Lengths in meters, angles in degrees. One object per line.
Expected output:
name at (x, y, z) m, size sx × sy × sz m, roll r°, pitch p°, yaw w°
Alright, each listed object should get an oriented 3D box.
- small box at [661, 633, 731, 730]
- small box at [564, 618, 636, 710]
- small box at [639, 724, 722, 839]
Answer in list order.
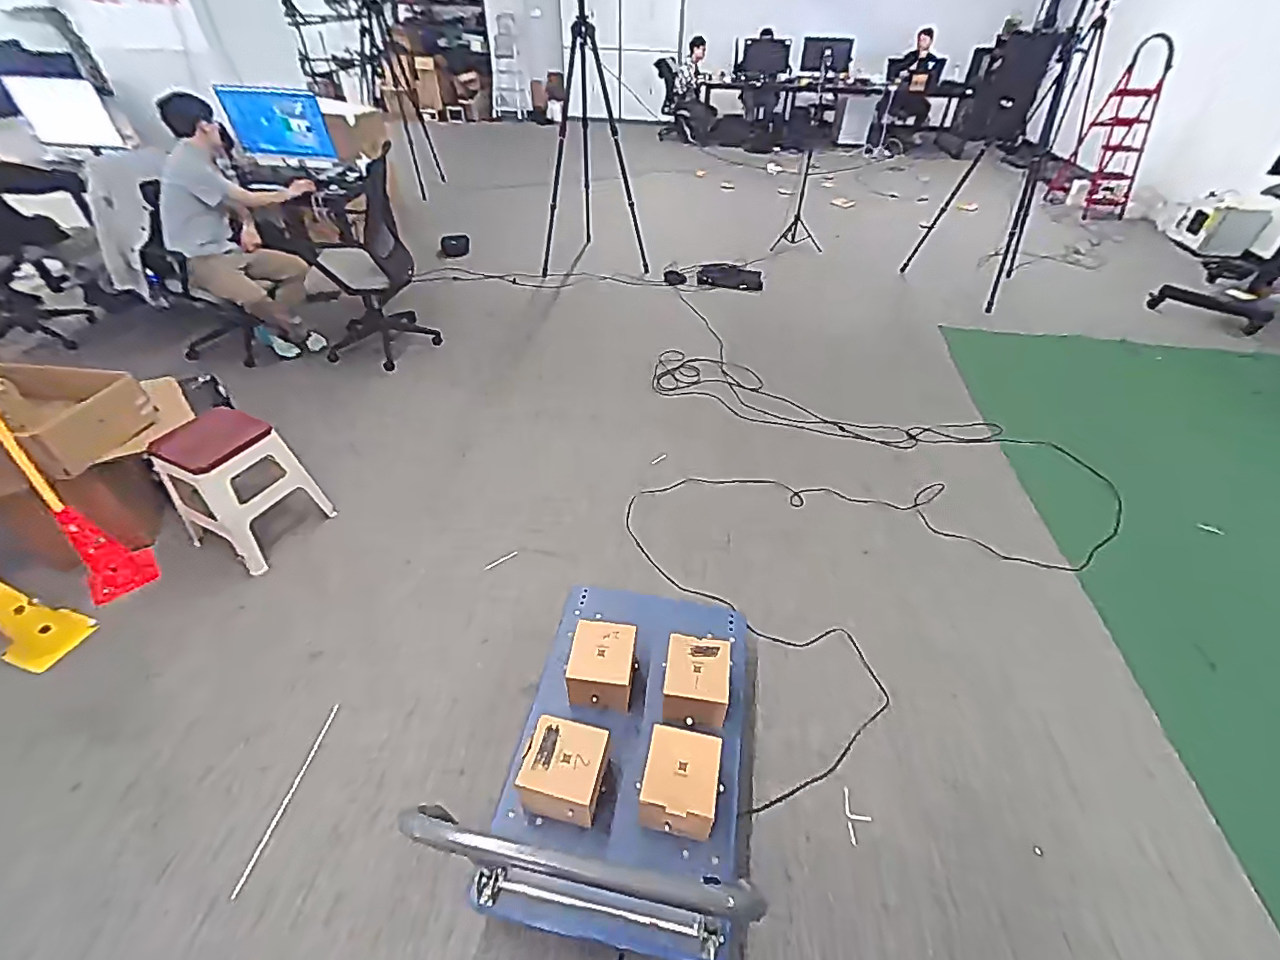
small box at (0.149, 0.543, 1.458) m, size 0.168 × 0.176 × 0.179 m, roll 7°, pitch 44°, yaw 7°
small box at (-0.103, 0.509, 1.486) m, size 0.168 × 0.176 × 0.179 m, roll 6°, pitch 43°, yaw 4°
small box at (0.093, 0.713, 1.278) m, size 0.168 × 0.176 × 0.179 m, roll 9°, pitch 44°, yaw 8°
